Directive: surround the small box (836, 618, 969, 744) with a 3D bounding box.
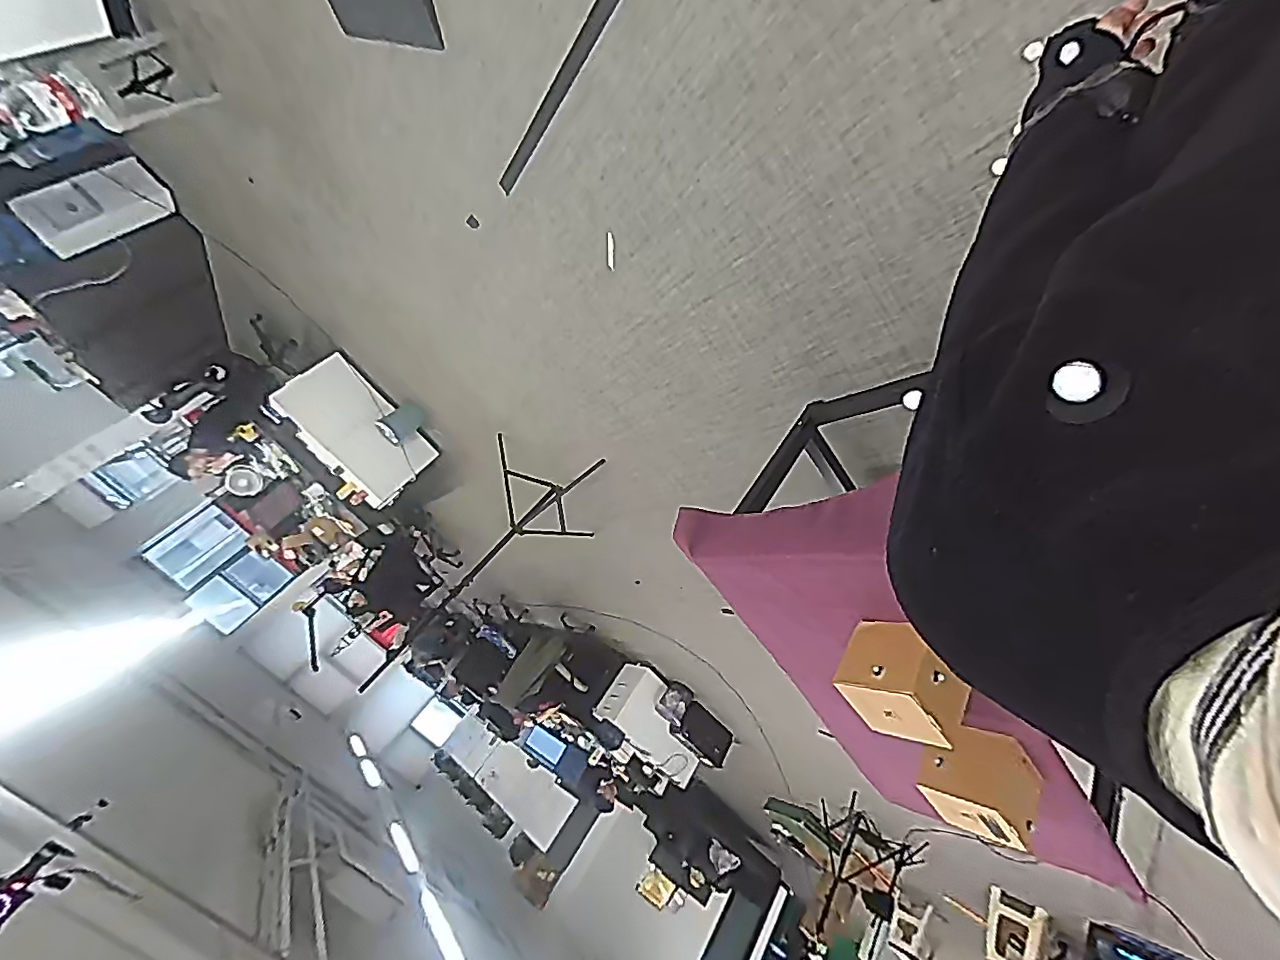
[{"bbox_3d":[0.543,0.400,1.106,0.168,0.176,0.179,49,149,-15],"label":"small box"}]
